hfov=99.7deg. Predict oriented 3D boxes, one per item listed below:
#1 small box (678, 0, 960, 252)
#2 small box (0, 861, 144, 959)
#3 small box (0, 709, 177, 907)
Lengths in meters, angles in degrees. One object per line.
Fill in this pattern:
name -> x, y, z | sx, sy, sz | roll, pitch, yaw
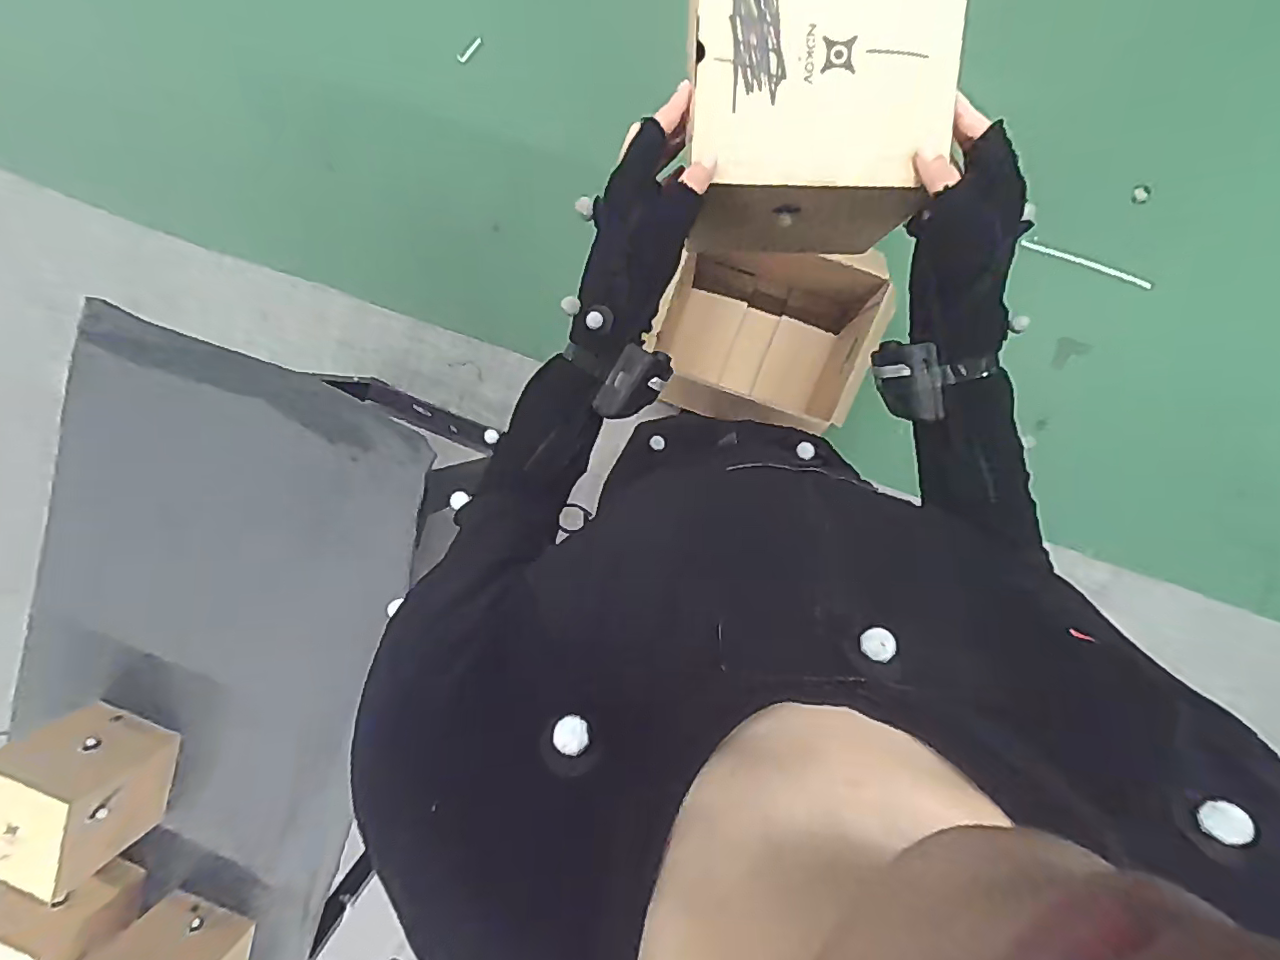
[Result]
small box -> 0.122, -0.289, 0.431 | 0.179, 0.176, 0.168 | 2, 98, 4
small box -> -0.982, 0.757, 0.896 | 0.168, 0.176, 0.179 | 19, 100, 4
small box -> -0.879, 0.495, 0.844 | 0.168, 0.176, 0.179 | 20, 100, 4
